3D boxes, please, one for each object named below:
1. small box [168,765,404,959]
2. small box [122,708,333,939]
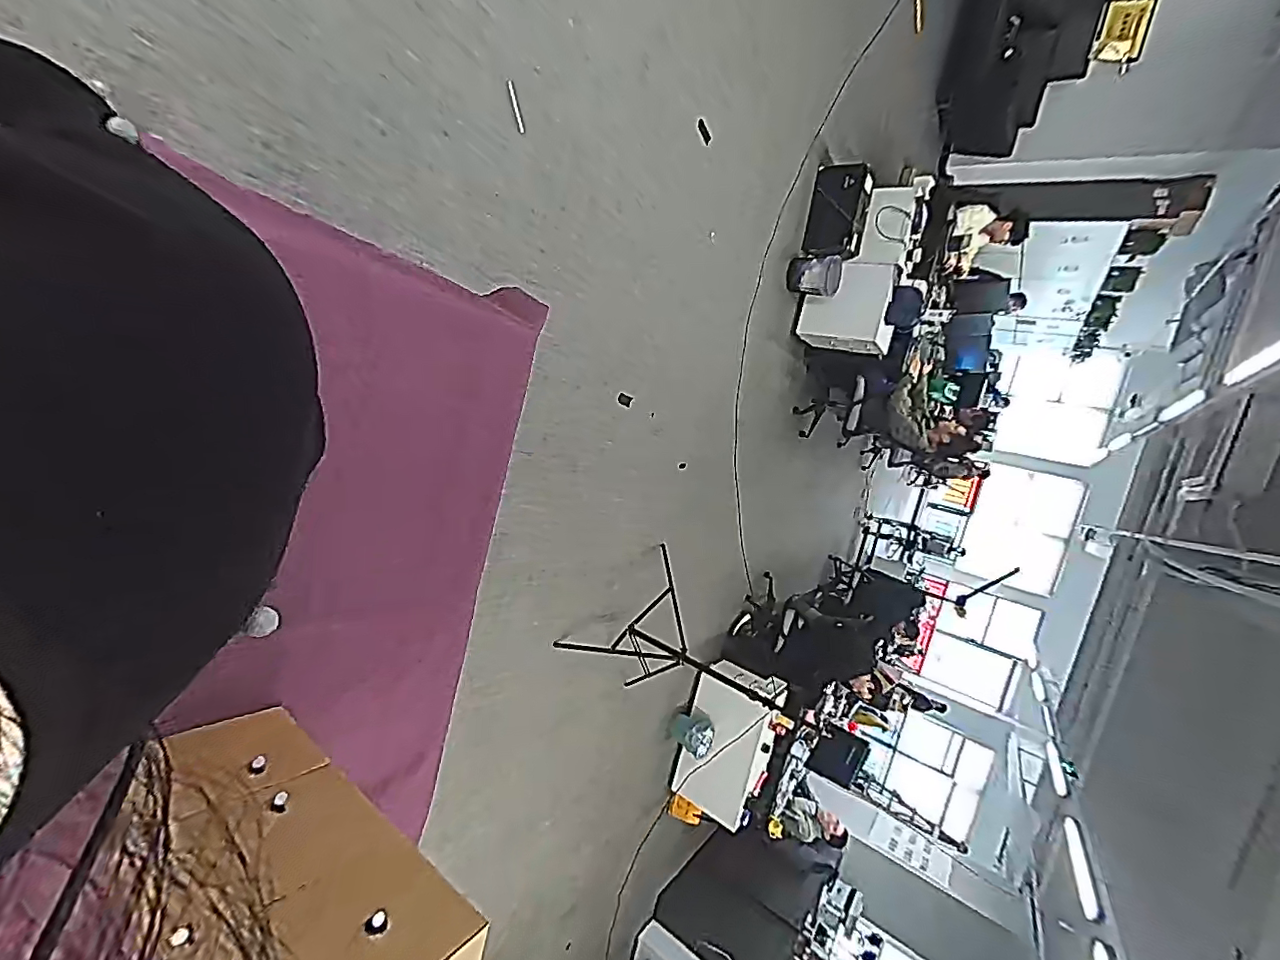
[{"bbox_3d":[-0.425,0.485,0.650,0.179,0.176,0.168,8,98,-57],"label":"small box"},{"bbox_3d":[-0.559,0.443,0.733,0.179,0.176,0.168,6,99,-58],"label":"small box"}]
